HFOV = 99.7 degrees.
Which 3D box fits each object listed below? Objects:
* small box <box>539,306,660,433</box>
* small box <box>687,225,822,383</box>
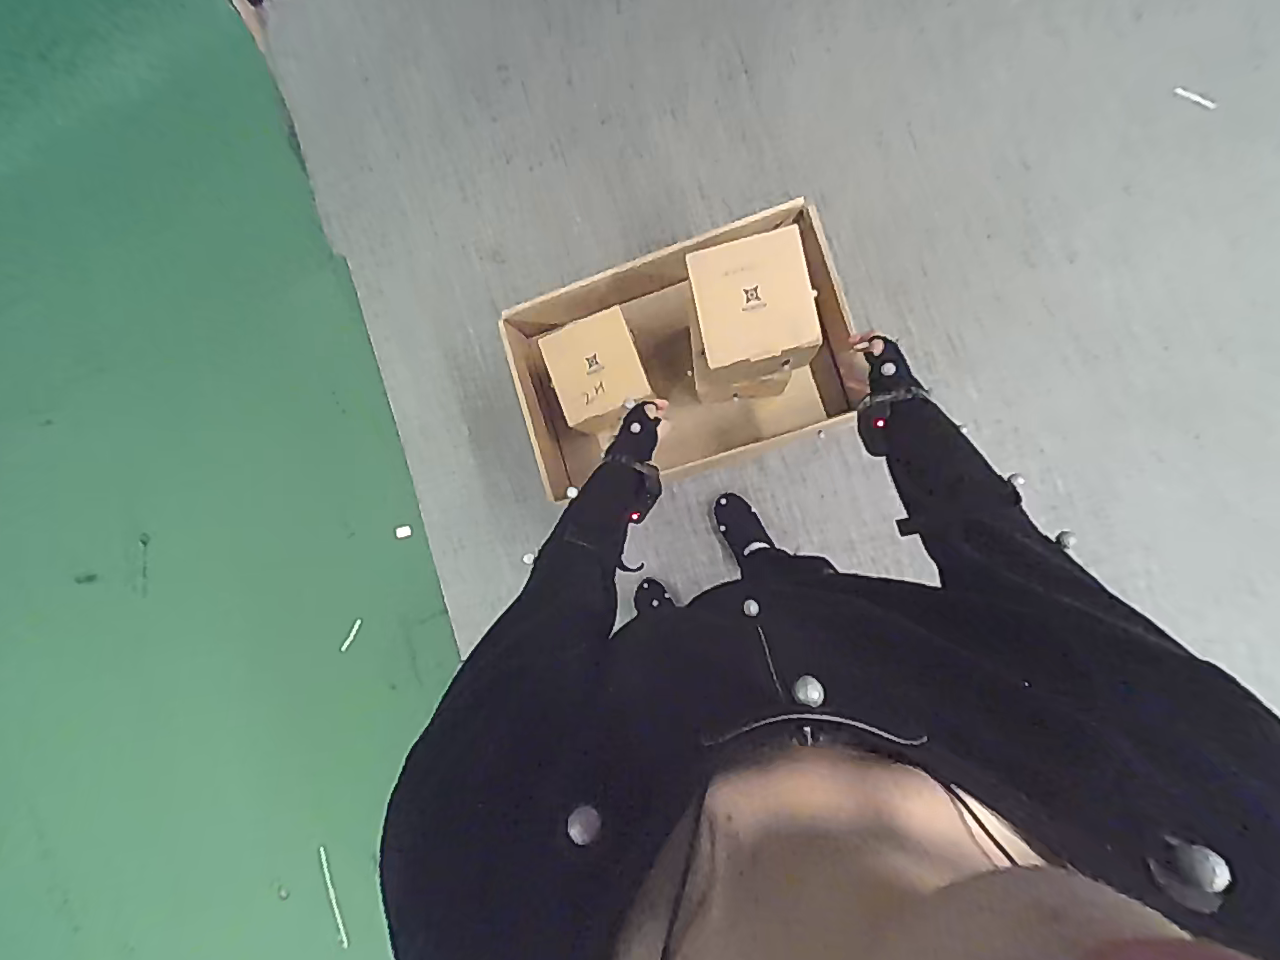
[{"bbox_3d":[-0.071,-0.203,1.045,0.168,0.176,0.179,-20,86,9],"label":"small box"},{"bbox_3d":[0.173,-0.257,0.842,0.168,0.176,0.179,-11,87,8],"label":"small box"}]
